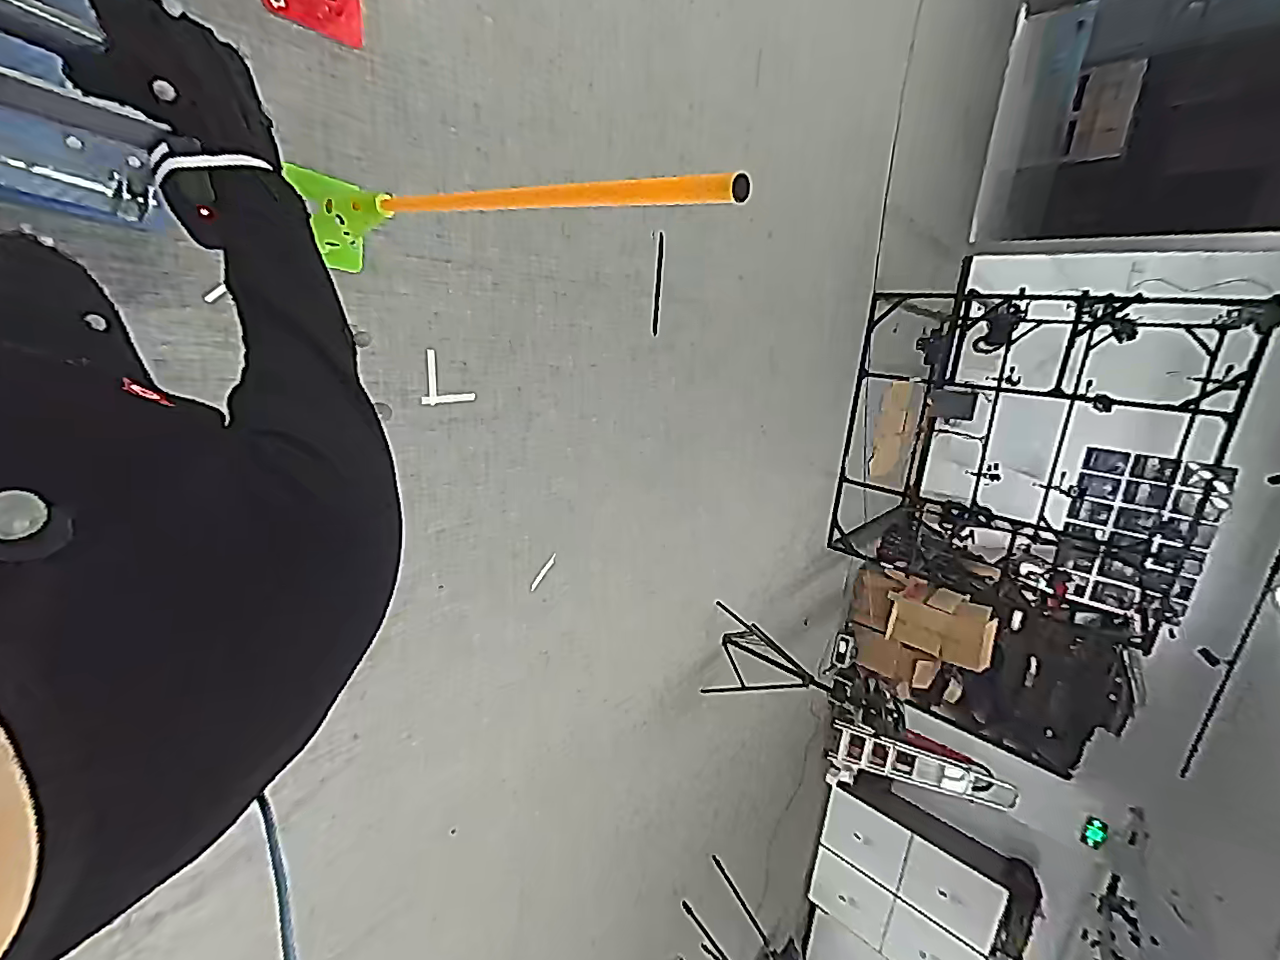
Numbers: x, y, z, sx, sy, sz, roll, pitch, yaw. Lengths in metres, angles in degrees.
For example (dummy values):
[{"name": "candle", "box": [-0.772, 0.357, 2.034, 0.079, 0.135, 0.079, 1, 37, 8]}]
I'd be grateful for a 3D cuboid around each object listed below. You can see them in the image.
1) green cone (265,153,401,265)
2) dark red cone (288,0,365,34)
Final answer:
[{"name": "green cone", "box": [-0.621, -0.580, 1.150, 0.202, 0.368, 0.200, -8, 109, -50]}, {"name": "dark red cone", "box": [-0.553, -1.045, 1.026, 0.201, 0.394, 0.202, -14, 114, -49]}]
